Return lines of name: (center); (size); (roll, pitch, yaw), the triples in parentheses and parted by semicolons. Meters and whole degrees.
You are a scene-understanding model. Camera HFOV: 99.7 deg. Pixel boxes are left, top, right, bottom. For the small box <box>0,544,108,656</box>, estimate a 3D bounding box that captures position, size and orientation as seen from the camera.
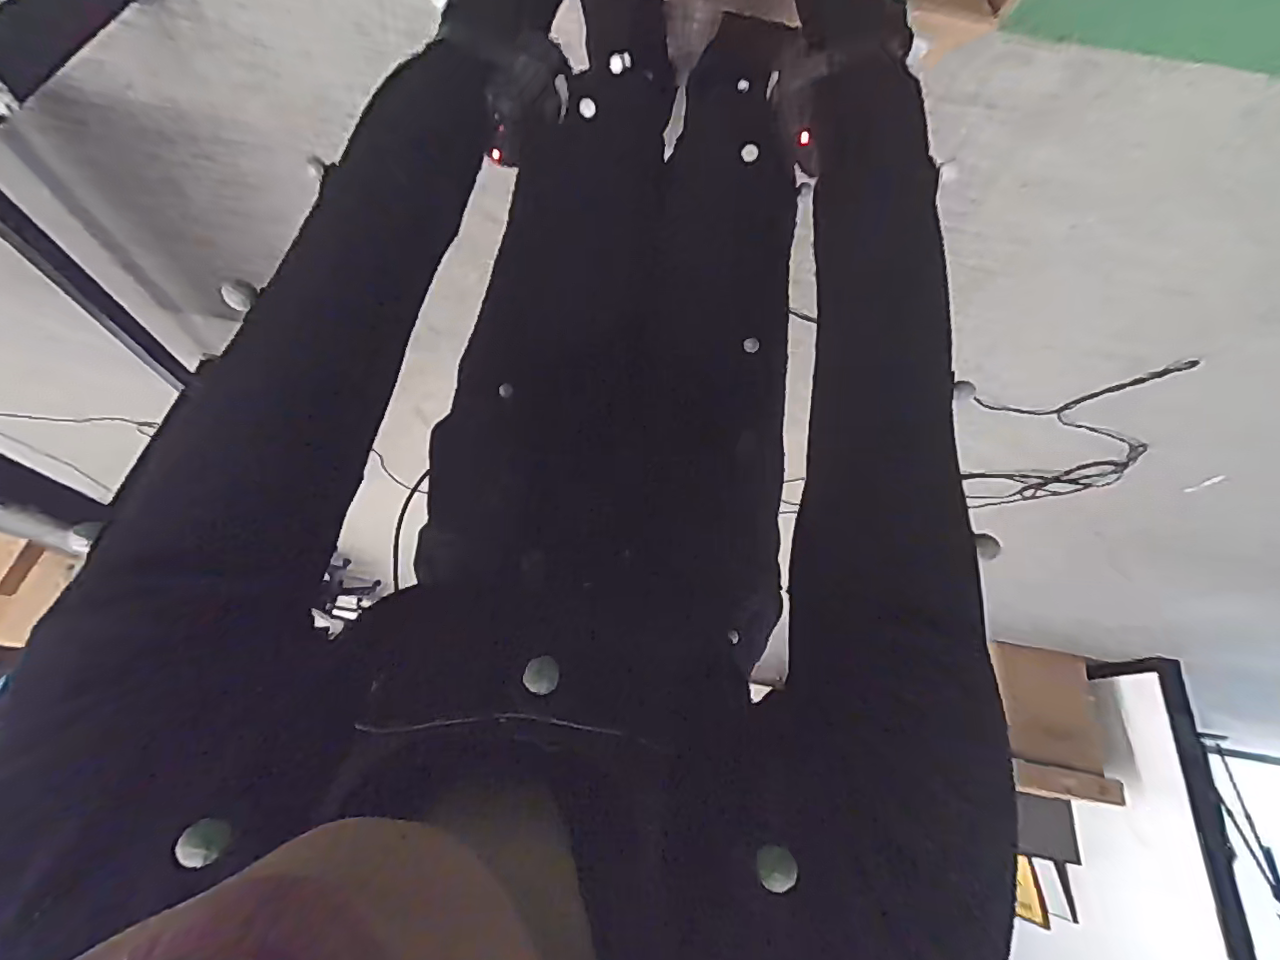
small box: (-1.175, 0.216, 1.006); (0.179, 0.176, 0.168); (10, 154, 1)
